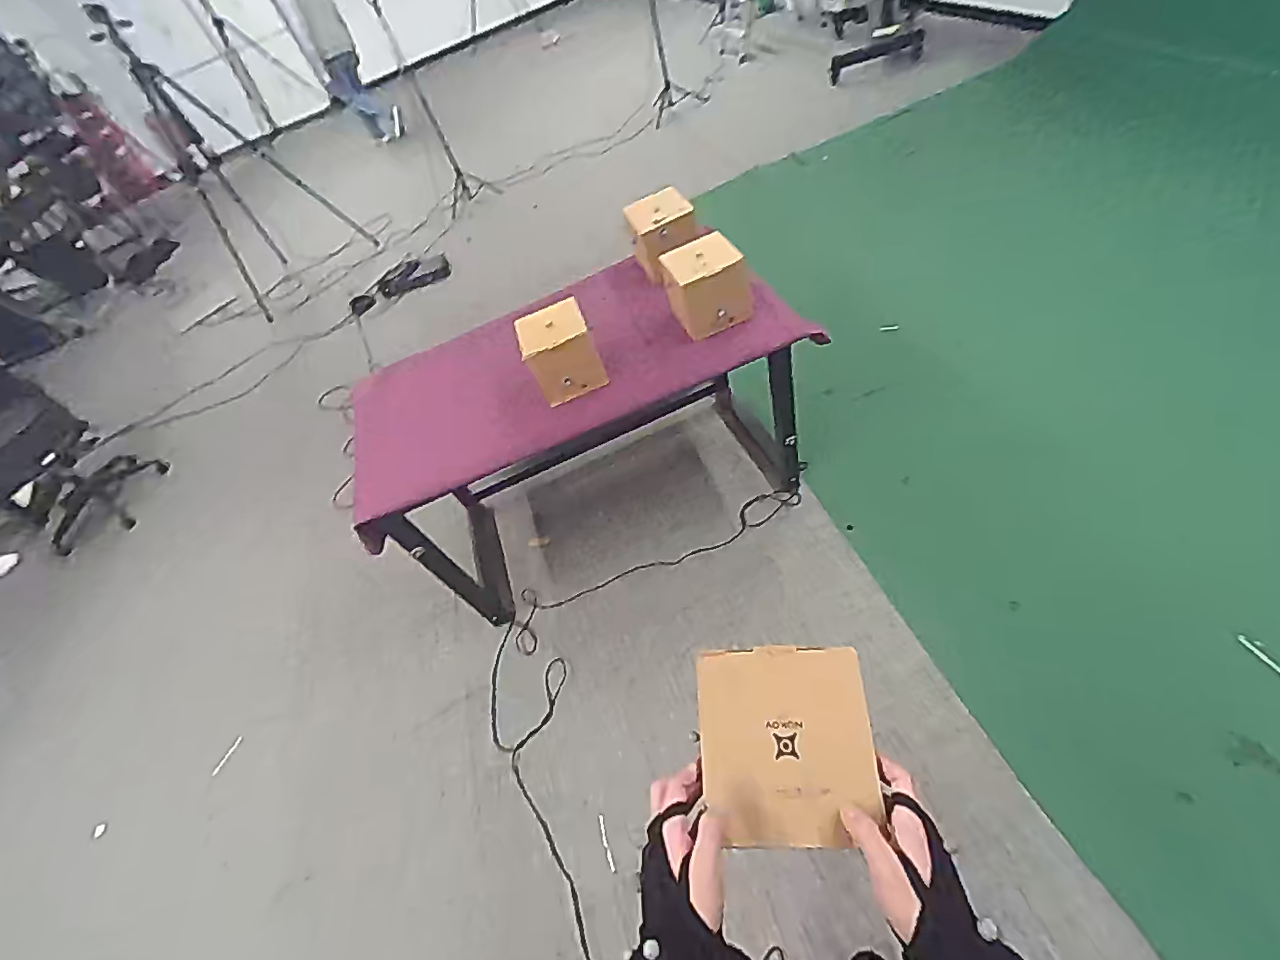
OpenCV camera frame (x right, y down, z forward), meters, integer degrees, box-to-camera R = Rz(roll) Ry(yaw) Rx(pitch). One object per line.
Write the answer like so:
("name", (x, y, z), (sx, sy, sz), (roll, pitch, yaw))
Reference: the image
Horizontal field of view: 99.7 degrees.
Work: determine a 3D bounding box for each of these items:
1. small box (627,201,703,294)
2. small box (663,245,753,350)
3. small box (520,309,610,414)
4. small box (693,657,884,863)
("small box", (0.080, -0.689, 1.609), (0.168, 0.176, 0.179), (-25, 50, 1))
("small box", (0.177, -0.468, 1.396), (0.168, 0.176, 0.179), (-23, 47, 1))
("small box", (-0.192, -0.302, 1.391), (0.168, 0.176, 0.179), (-22, 48, 0))
("small box", (0.142, 0.296, 0.590), (0.168, 0.176, 0.179), (-3, 64, 5))
